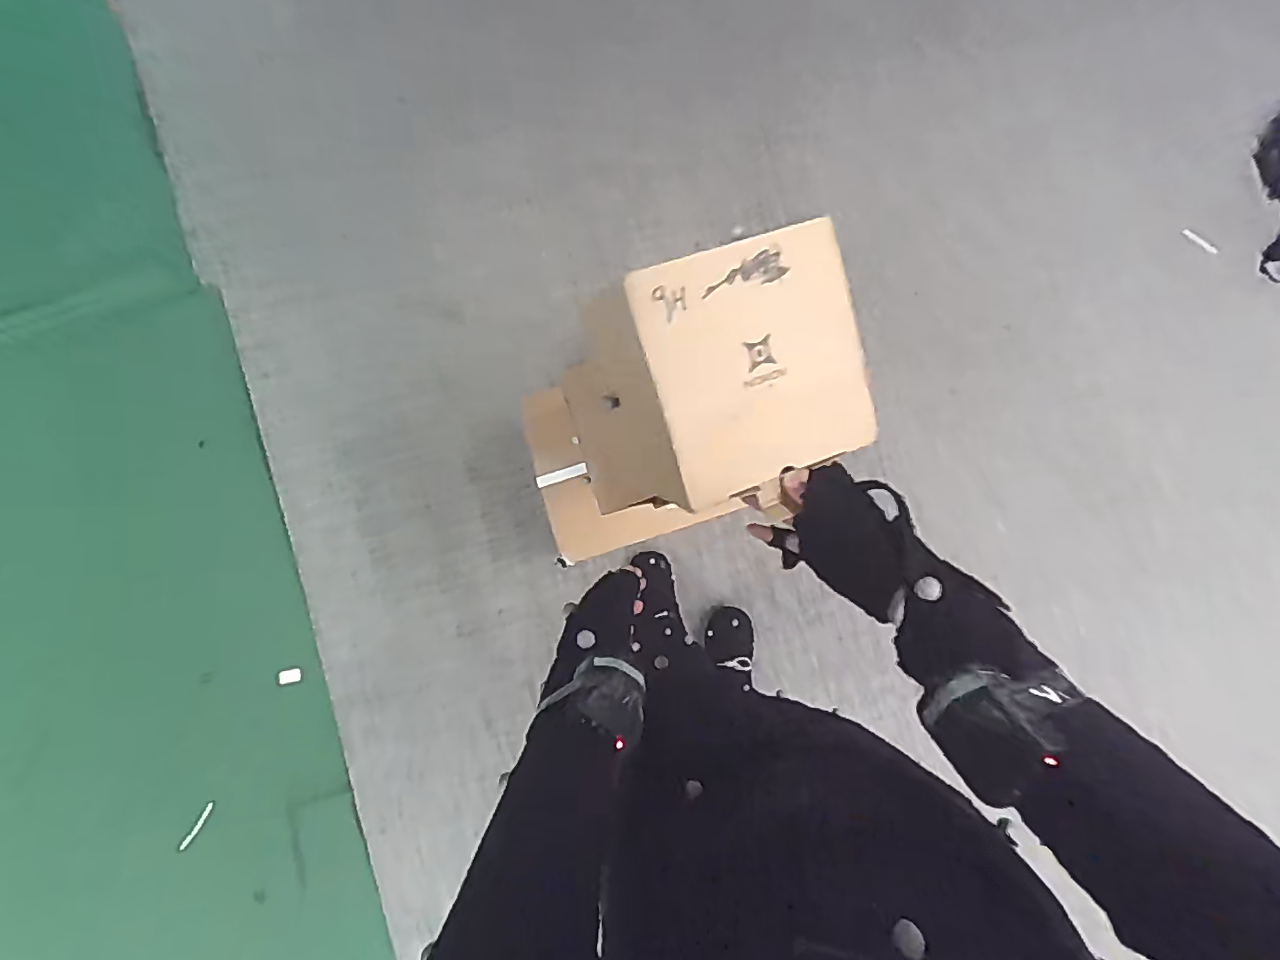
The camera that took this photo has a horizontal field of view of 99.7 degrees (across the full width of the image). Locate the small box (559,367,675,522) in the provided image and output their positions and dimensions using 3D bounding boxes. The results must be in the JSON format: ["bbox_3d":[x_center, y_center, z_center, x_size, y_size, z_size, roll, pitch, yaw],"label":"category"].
[{"bbox_3d":[0.004,-0.058,0.713,0.168,0.176,0.179,-19,92,-4],"label":"small box"}]

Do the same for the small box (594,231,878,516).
[{"bbox_3d":[0.072,-0.091,0.473,0.168,0.176,0.179,-20,104,-13],"label":"small box"}]
